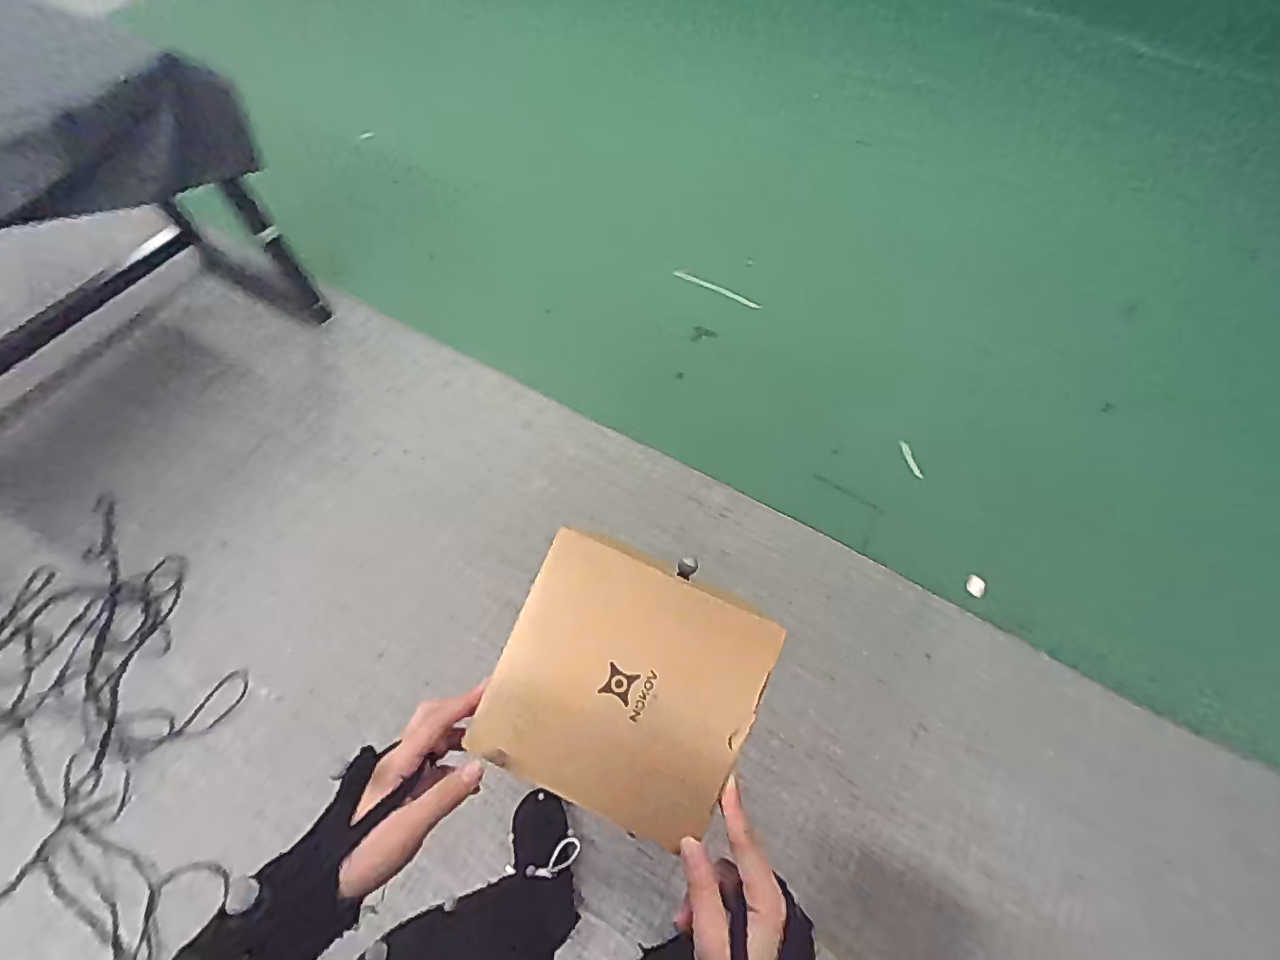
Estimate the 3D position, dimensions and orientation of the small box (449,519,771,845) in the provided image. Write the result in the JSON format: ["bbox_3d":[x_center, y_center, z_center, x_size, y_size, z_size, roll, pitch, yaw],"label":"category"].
[{"bbox_3d":[-0.018,0.145,0.449,0.179,0.176,0.168,23,84,4],"label":"small box"}]

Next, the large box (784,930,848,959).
[{"bbox_3d":[0.338,0.999,0.786,0.320,0.320,0.408,25,66,13],"label":"large box"}]
